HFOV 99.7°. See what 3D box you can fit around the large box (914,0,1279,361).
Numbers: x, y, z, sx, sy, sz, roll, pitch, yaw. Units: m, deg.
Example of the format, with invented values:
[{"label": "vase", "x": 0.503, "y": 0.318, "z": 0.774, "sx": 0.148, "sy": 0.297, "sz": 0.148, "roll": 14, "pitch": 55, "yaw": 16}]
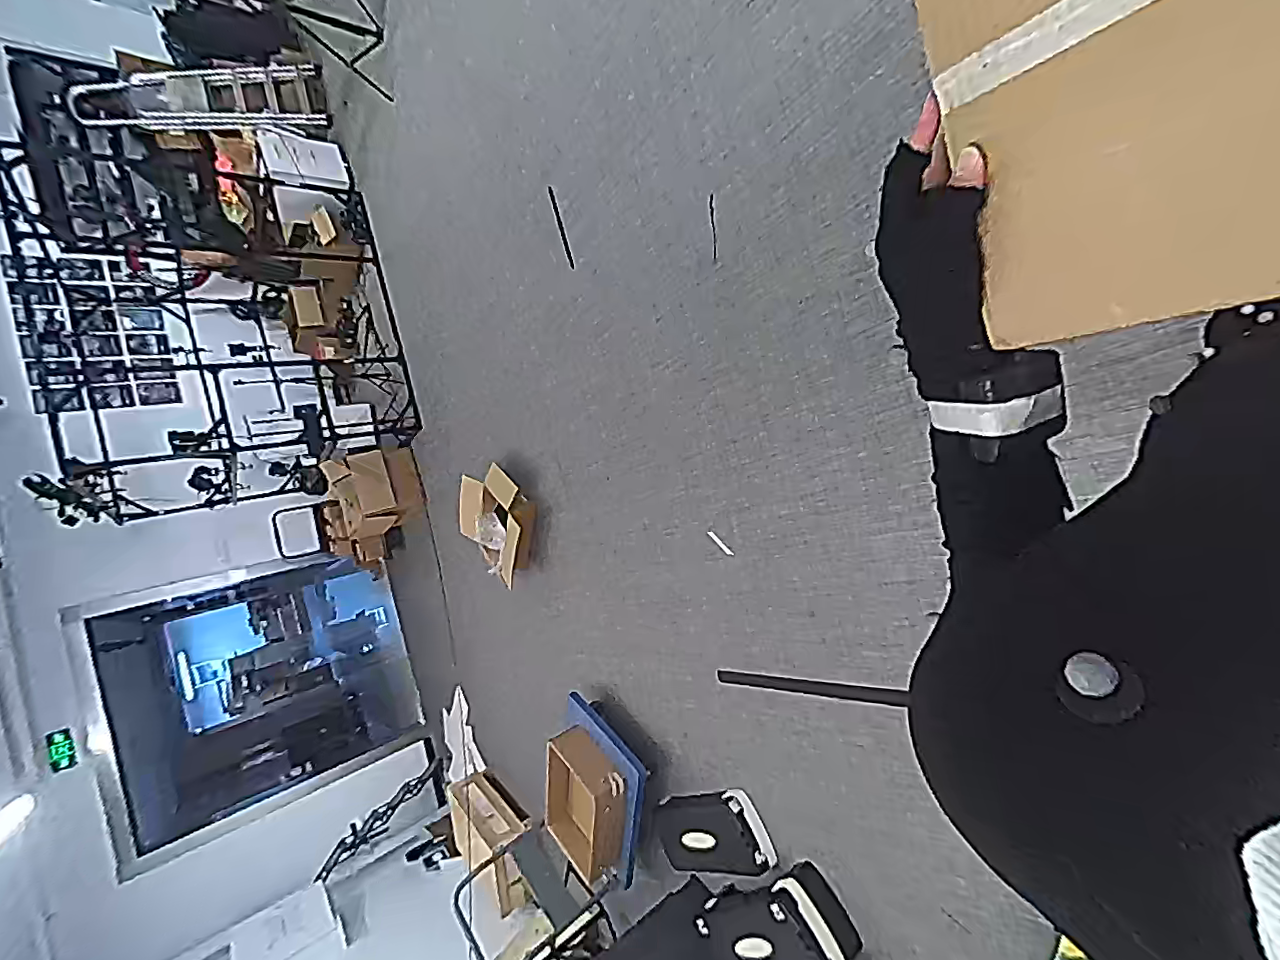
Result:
[{"label": "large box", "x": 0.410, "y": -0.288, "z": 0.254, "sx": 0.408, "sy": 0.320, "sz": 0.320, "roll": -4, "pitch": 110, "yaw": 53}]
